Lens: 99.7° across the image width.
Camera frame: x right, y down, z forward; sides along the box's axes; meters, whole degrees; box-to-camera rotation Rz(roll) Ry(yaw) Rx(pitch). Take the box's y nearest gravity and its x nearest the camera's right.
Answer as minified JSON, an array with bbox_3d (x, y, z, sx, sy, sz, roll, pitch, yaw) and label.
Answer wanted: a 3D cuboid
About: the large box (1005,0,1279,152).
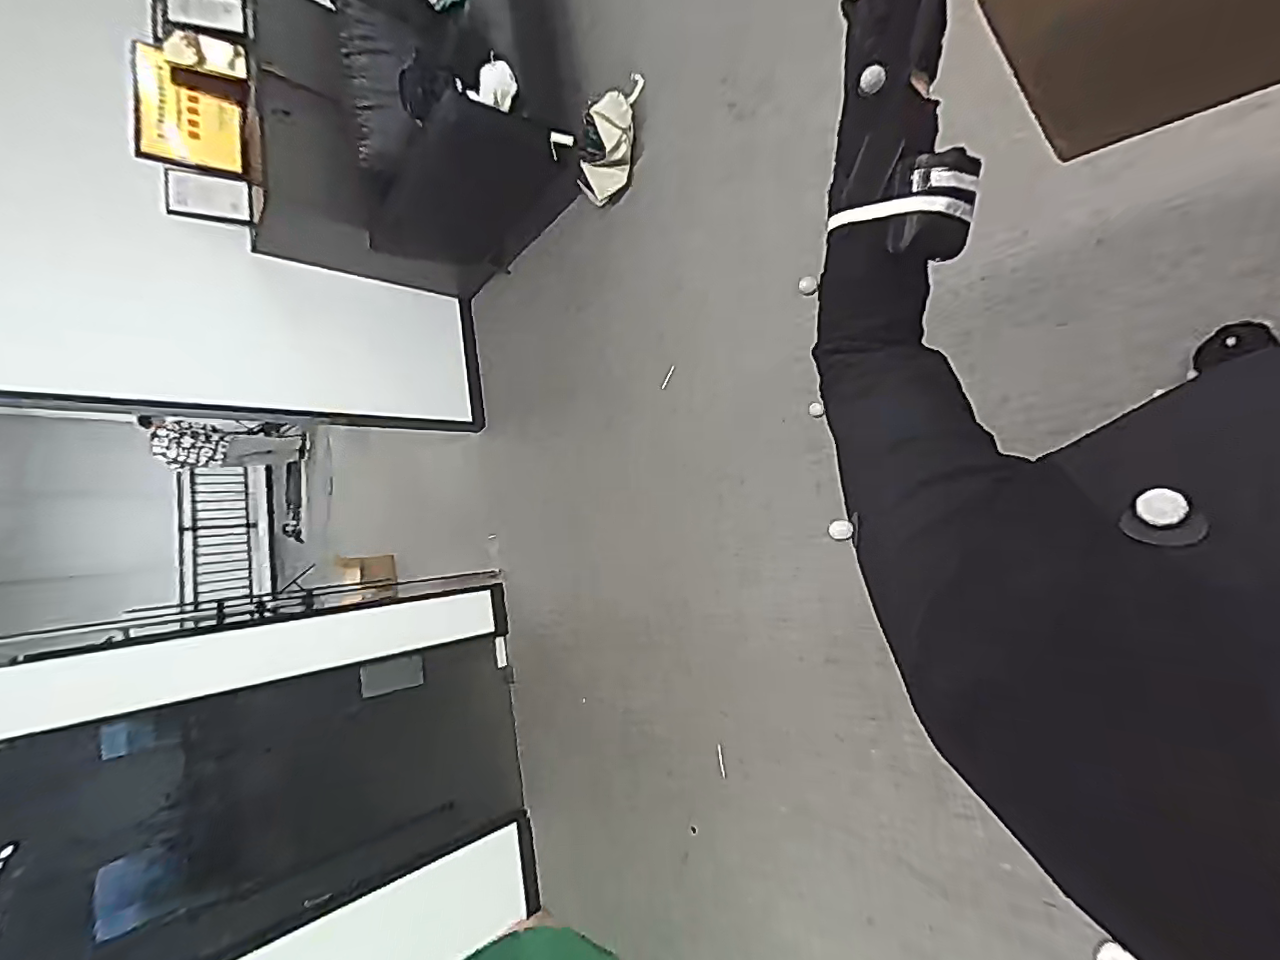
[{"bbox_3d":[0.439,-0.474,0.291,0.408,0.320,0.320,-4,90,45],"label":"large box"}]
